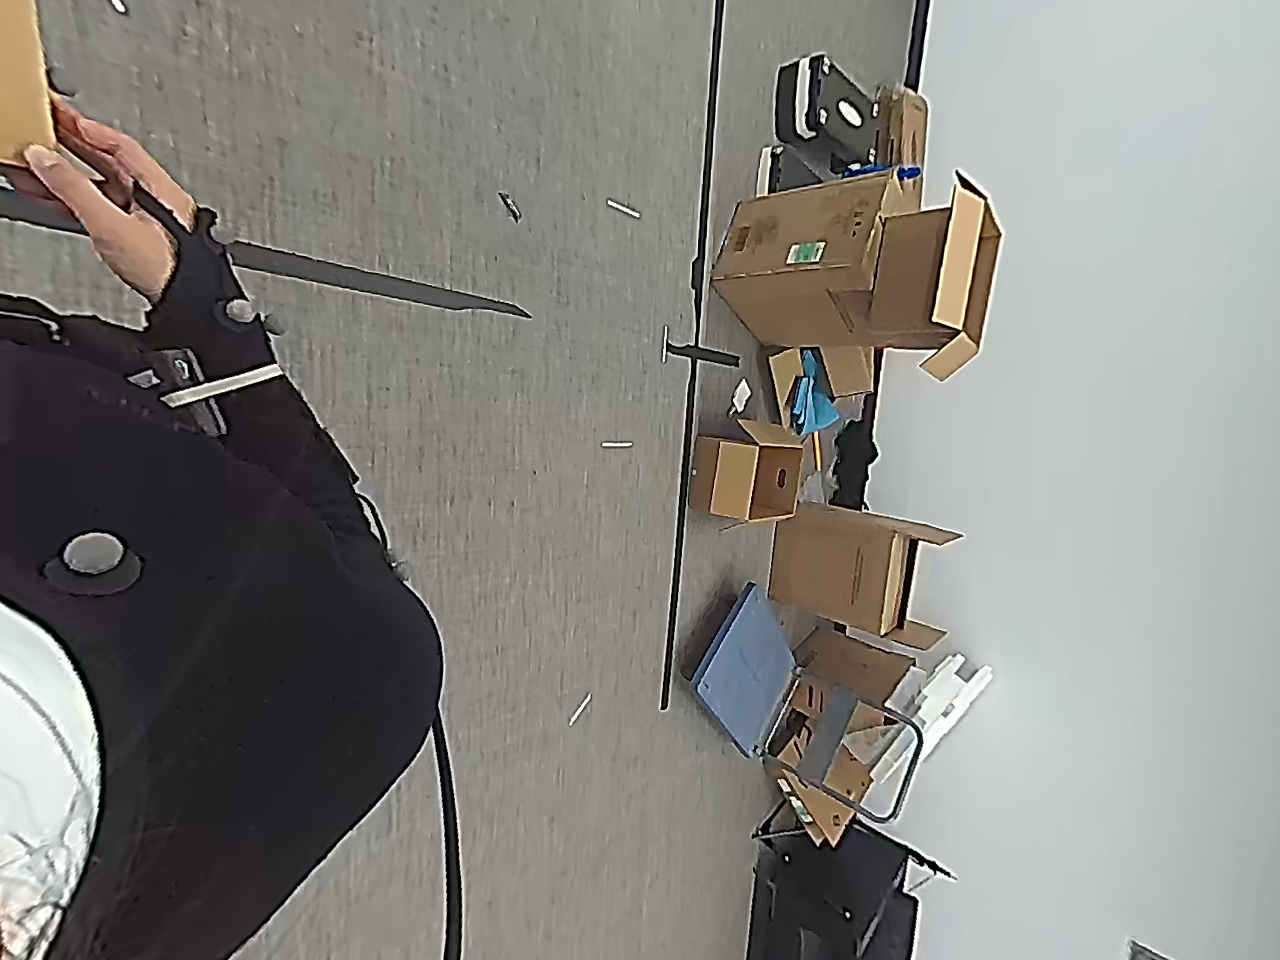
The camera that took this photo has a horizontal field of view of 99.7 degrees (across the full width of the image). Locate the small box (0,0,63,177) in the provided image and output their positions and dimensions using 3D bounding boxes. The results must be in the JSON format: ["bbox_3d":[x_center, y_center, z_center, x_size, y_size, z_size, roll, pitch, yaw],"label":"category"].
[{"bbox_3d":[-0.440,-0.273,0.281,0.179,0.176,0.168,-8,114,-45],"label":"small box"}]
